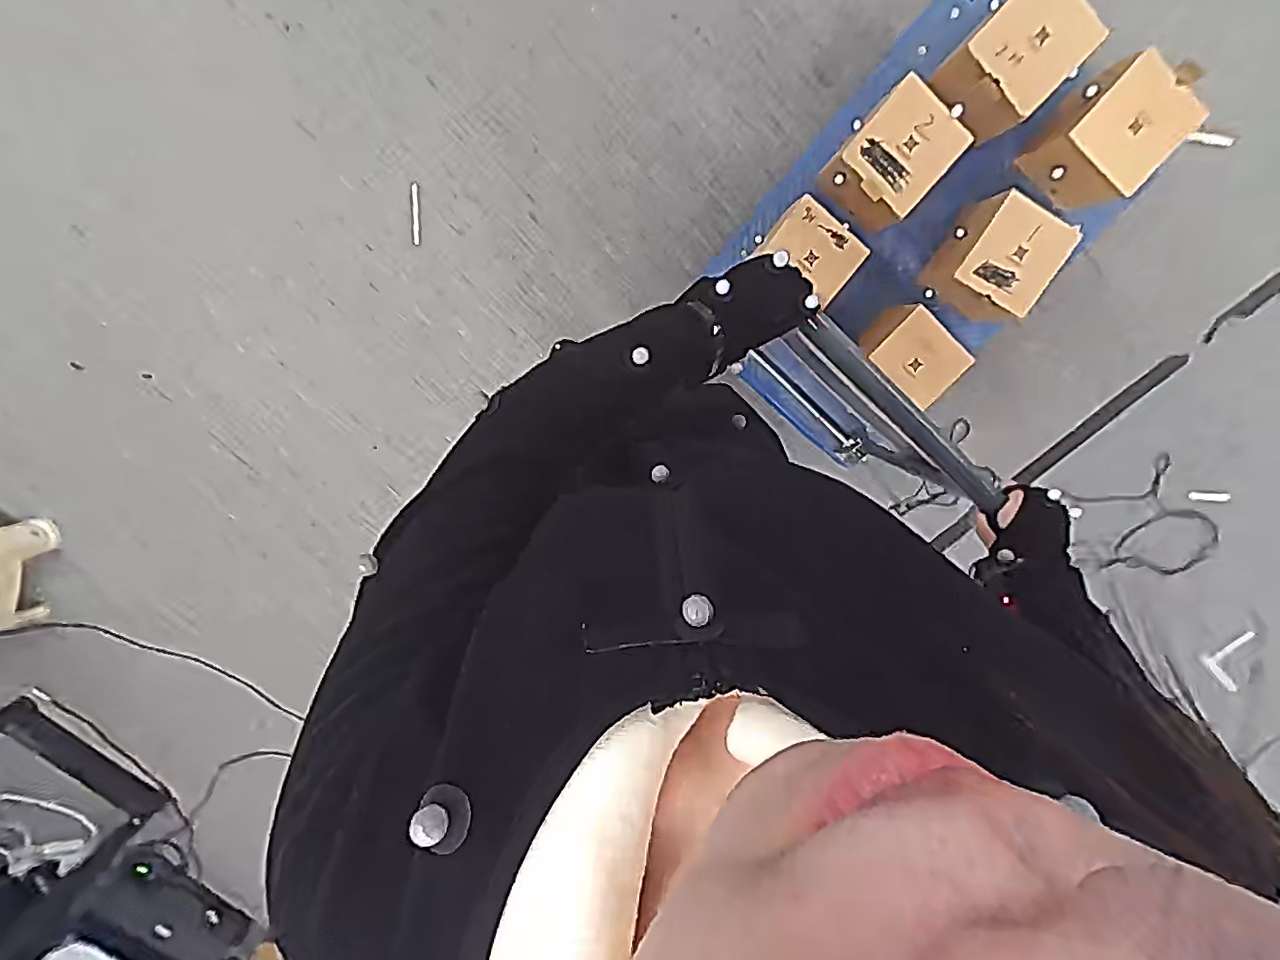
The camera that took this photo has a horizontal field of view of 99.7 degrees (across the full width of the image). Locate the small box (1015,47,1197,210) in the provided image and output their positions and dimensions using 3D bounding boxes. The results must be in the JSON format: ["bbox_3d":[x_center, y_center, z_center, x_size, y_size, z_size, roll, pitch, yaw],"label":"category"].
[{"bbox_3d":[0.867,-0.653,1.035,0.168,0.176,0.179,38,103,-9],"label":"small box"}]

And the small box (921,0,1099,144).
[{"bbox_3d":[0.669,-0.775,1.001,0.168,0.176,0.179,43,103,-10],"label":"small box"}]

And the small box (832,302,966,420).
[{"bbox_3d":[0.537,-0.256,1.157,0.168,0.176,0.179,41,102,-10],"label":"small box"}]

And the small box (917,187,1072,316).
[{"bbox_3d":[0.699,-0.448,1.097,0.168,0.176,0.179,29,104,-7],"label":"small box"}]

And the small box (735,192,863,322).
[{"bbox_3d":[0.311,-0.443,1.106,0.168,0.176,0.179,37,104,-10],"label":"small box"}]
